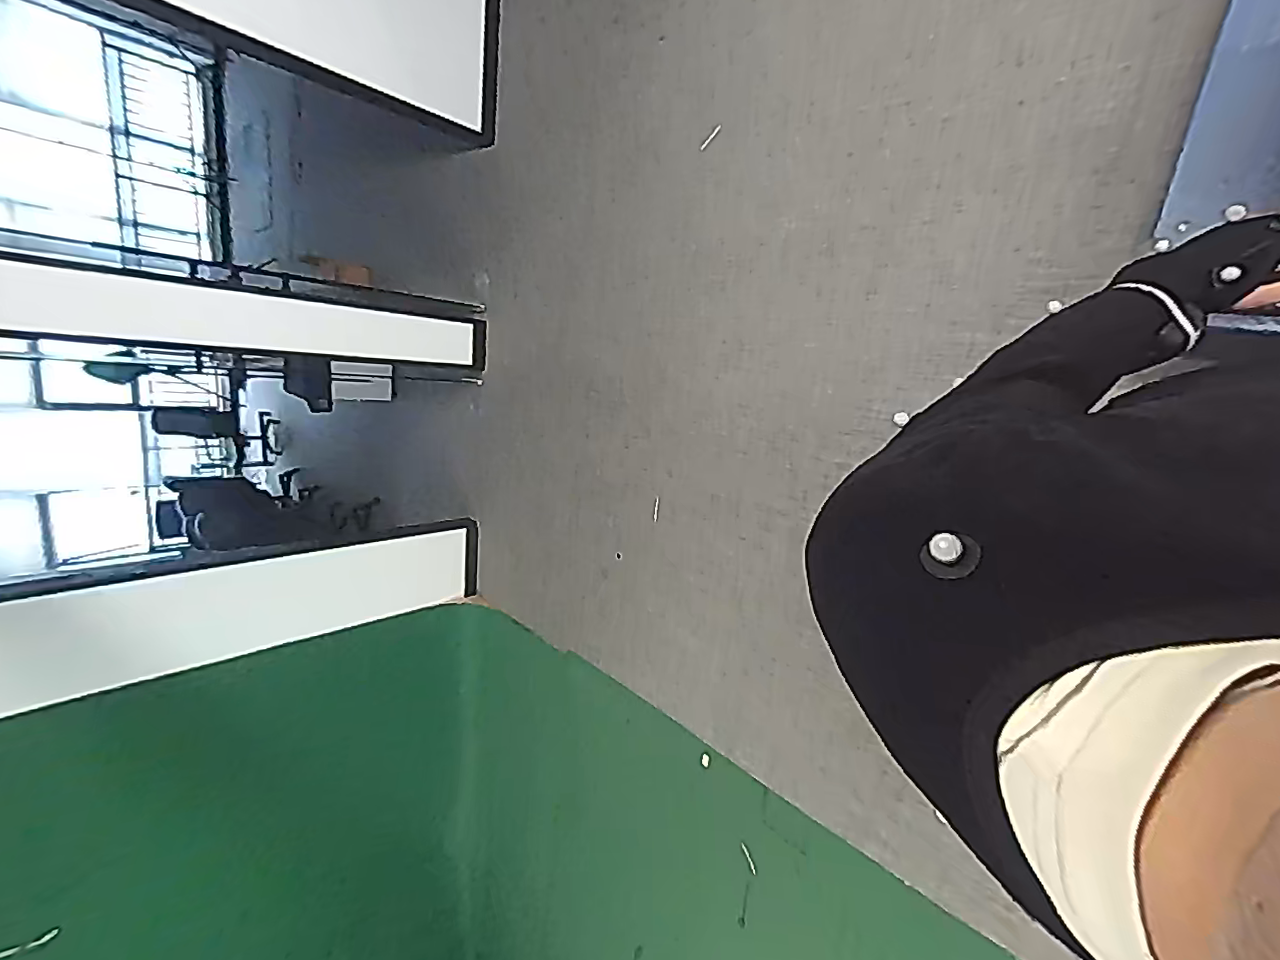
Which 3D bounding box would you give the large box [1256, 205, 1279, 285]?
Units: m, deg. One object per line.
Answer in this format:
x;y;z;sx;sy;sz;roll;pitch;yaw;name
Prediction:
1.138;-0.501;0.733;0.320;0.320;0.408;20;107;41;large box
